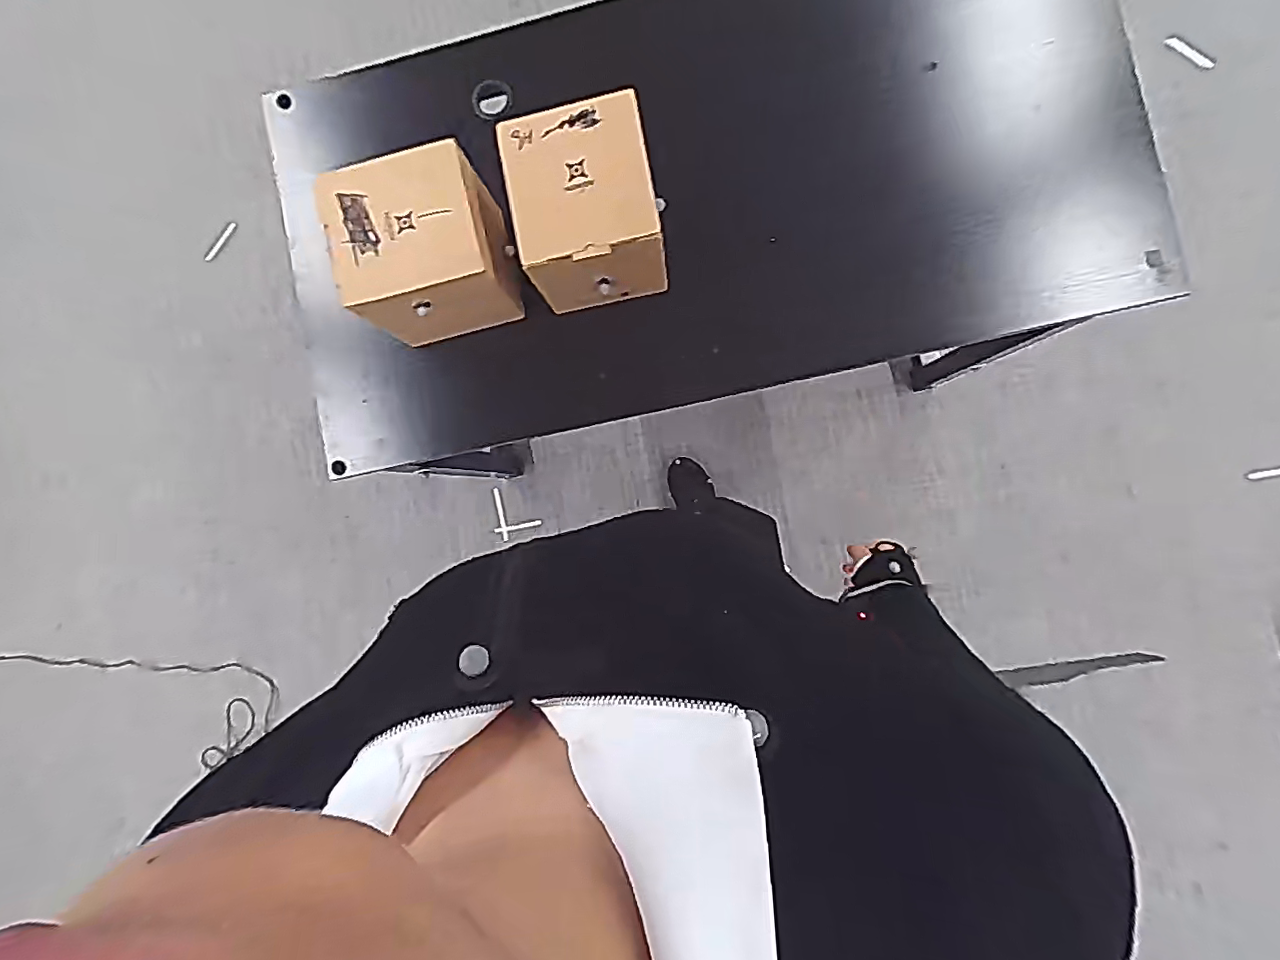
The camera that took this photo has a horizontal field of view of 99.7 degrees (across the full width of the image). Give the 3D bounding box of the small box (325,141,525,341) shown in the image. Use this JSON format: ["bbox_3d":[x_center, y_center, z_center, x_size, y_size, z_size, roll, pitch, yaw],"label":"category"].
[{"bbox_3d":[-0.274,-0.301,0.722,0.179,0.176,0.168,-13,87,4],"label":"small box"}]

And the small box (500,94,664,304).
[{"bbox_3d":[-0.064,-0.345,0.704,0.168,0.176,0.179,-10,88,4],"label":"small box"}]
